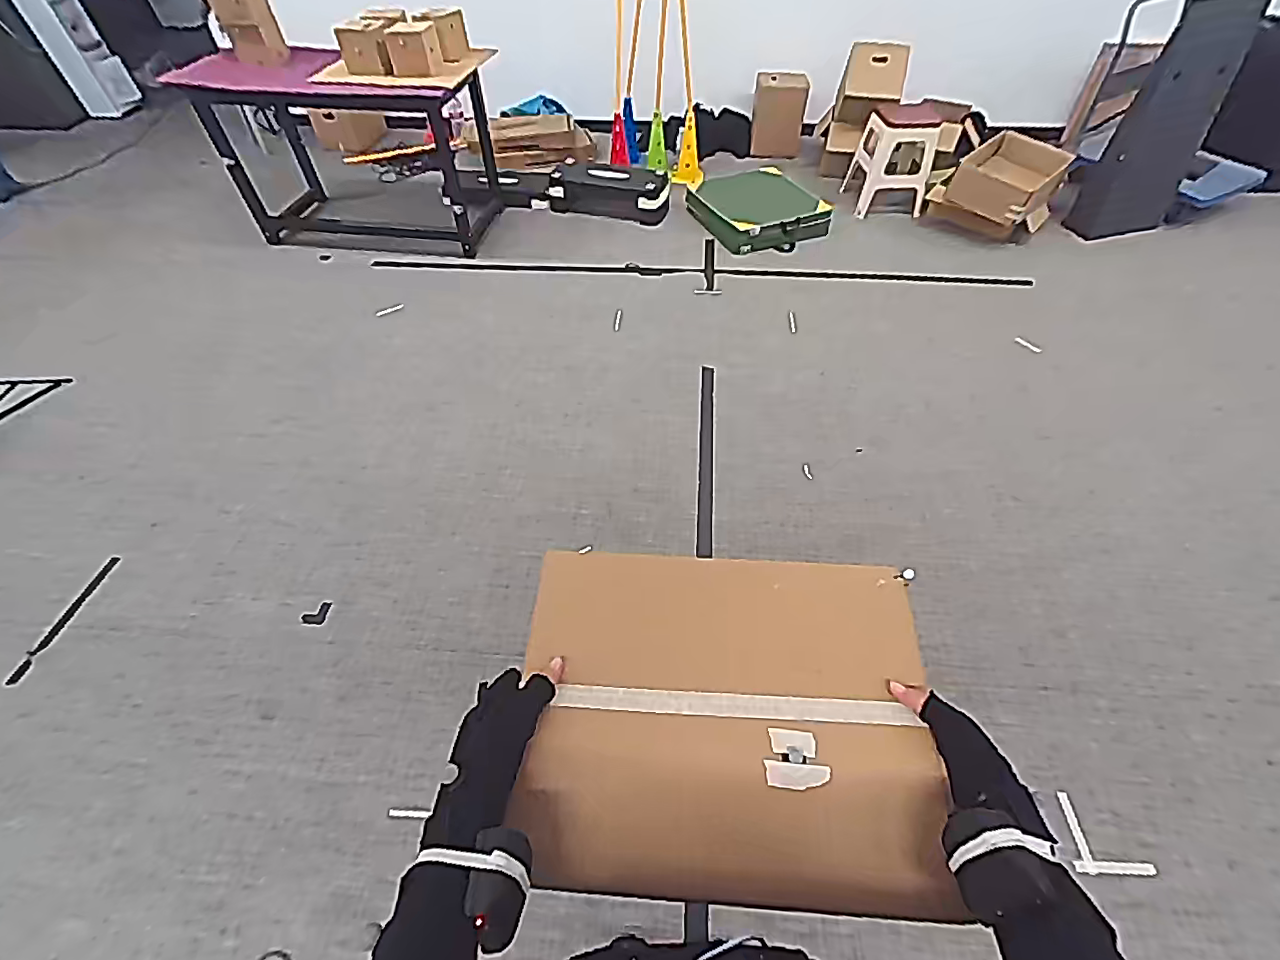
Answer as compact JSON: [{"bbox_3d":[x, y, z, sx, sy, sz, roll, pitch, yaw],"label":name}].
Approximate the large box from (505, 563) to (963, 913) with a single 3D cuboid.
[{"bbox_3d":[0.086,0.313,0.669,0.408,0.320,0.320,2,57,3],"label":"large box"}]
